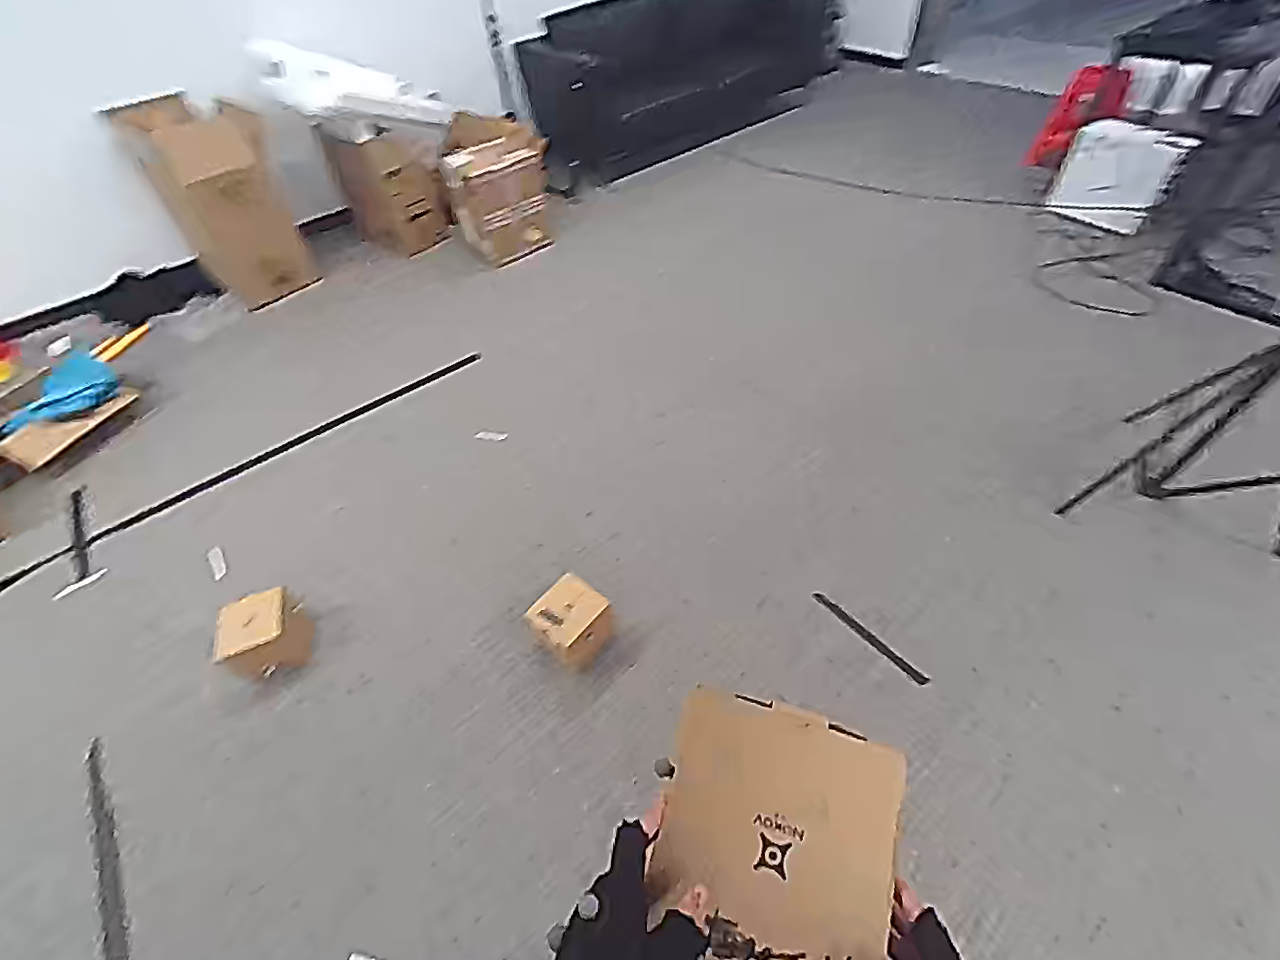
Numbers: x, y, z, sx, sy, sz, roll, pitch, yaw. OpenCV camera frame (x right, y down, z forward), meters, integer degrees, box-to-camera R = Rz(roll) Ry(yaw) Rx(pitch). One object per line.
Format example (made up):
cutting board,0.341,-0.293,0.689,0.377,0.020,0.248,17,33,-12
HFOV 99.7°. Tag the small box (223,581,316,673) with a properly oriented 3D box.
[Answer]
small box,-1.075,0.432,1.584,0.168,0.176,0.179,-21,52,-11

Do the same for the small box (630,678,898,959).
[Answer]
small box,0.094,0.286,0.459,0.168,0.176,0.179,16,68,7

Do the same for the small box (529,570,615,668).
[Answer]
small box,-0.185,0.401,1.543,0.168,0.176,0.179,31,57,27
